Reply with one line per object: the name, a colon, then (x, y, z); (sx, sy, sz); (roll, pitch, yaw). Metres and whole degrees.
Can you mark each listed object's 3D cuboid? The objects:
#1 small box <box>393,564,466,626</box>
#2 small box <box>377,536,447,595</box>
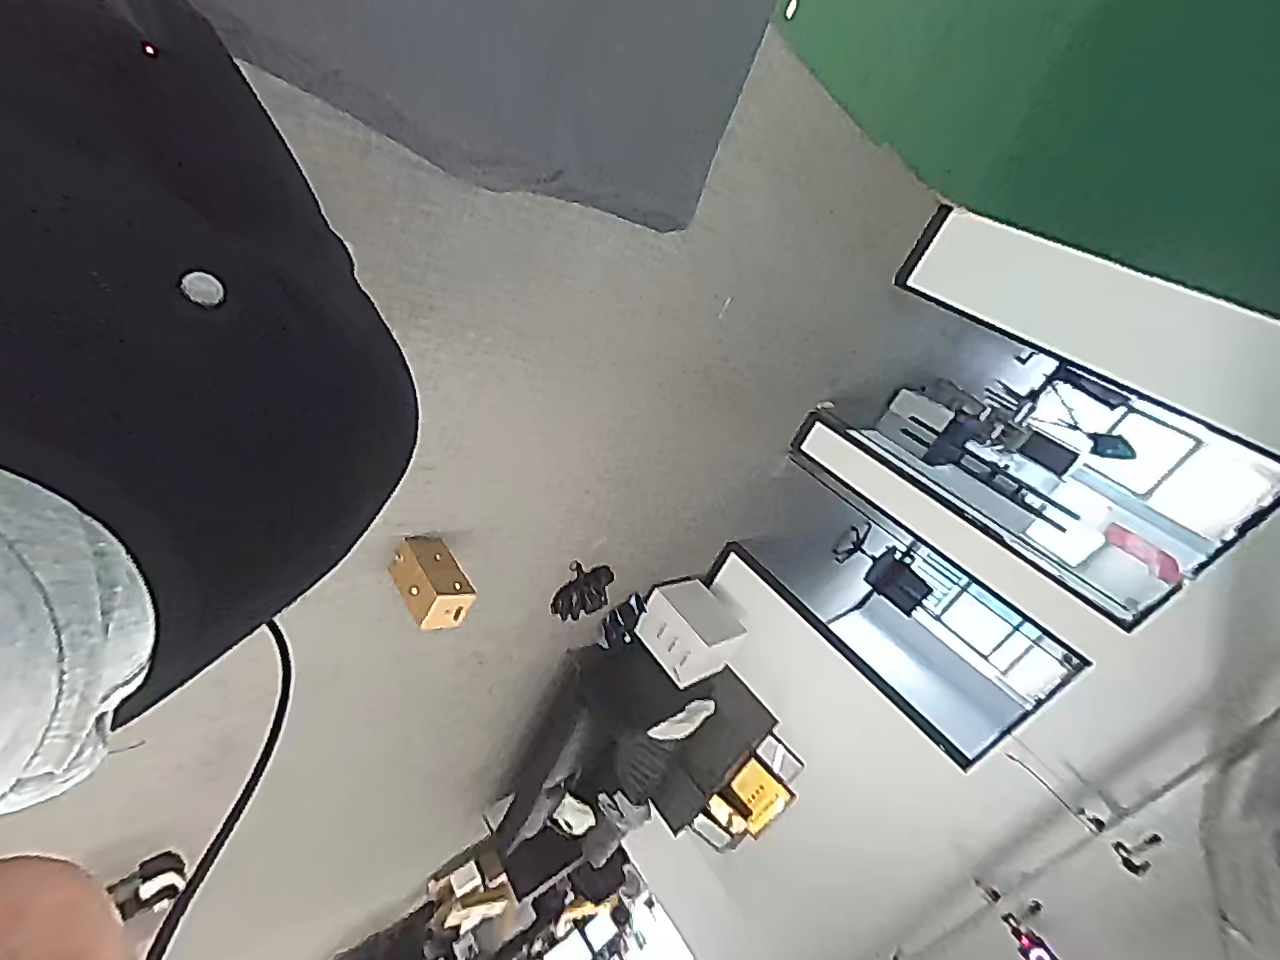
small box: (-0.811, 0.435, 2.077); (0.179, 0.176, 0.168); (12, 115, -55)
small box: (-0.914, 0.338, 2.161); (0.179, 0.176, 0.168); (11, 116, -54)
